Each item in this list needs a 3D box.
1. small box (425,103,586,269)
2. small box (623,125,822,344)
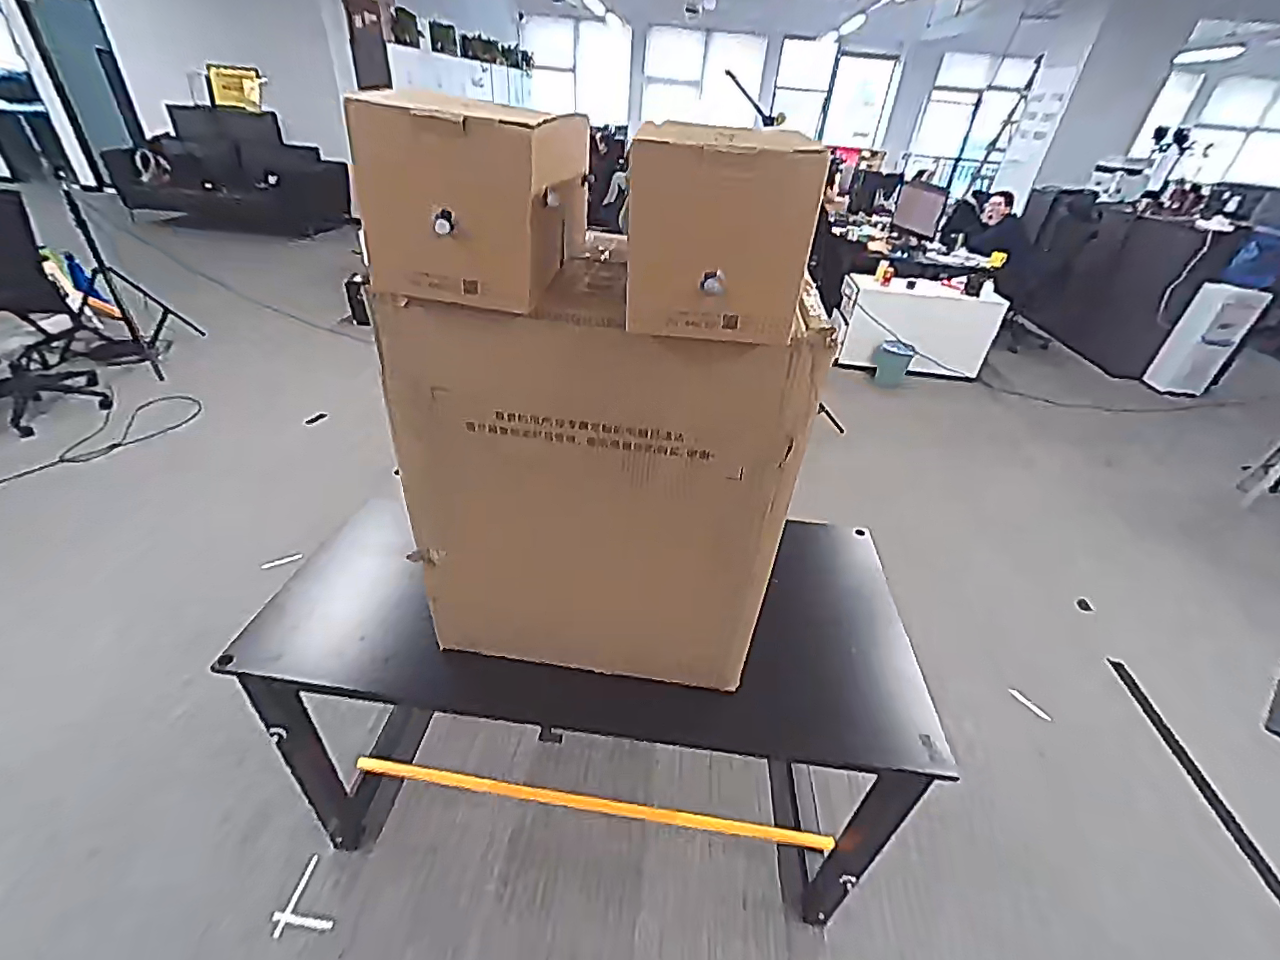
[{"bbox_3d":[-0.170,-0.401,0.737,0.168,0.176,0.179,6,34,2],"label":"small box"},{"bbox_3d":[0.073,-0.257,0.559,0.168,0.176,0.179,5,37,4],"label":"small box"}]
